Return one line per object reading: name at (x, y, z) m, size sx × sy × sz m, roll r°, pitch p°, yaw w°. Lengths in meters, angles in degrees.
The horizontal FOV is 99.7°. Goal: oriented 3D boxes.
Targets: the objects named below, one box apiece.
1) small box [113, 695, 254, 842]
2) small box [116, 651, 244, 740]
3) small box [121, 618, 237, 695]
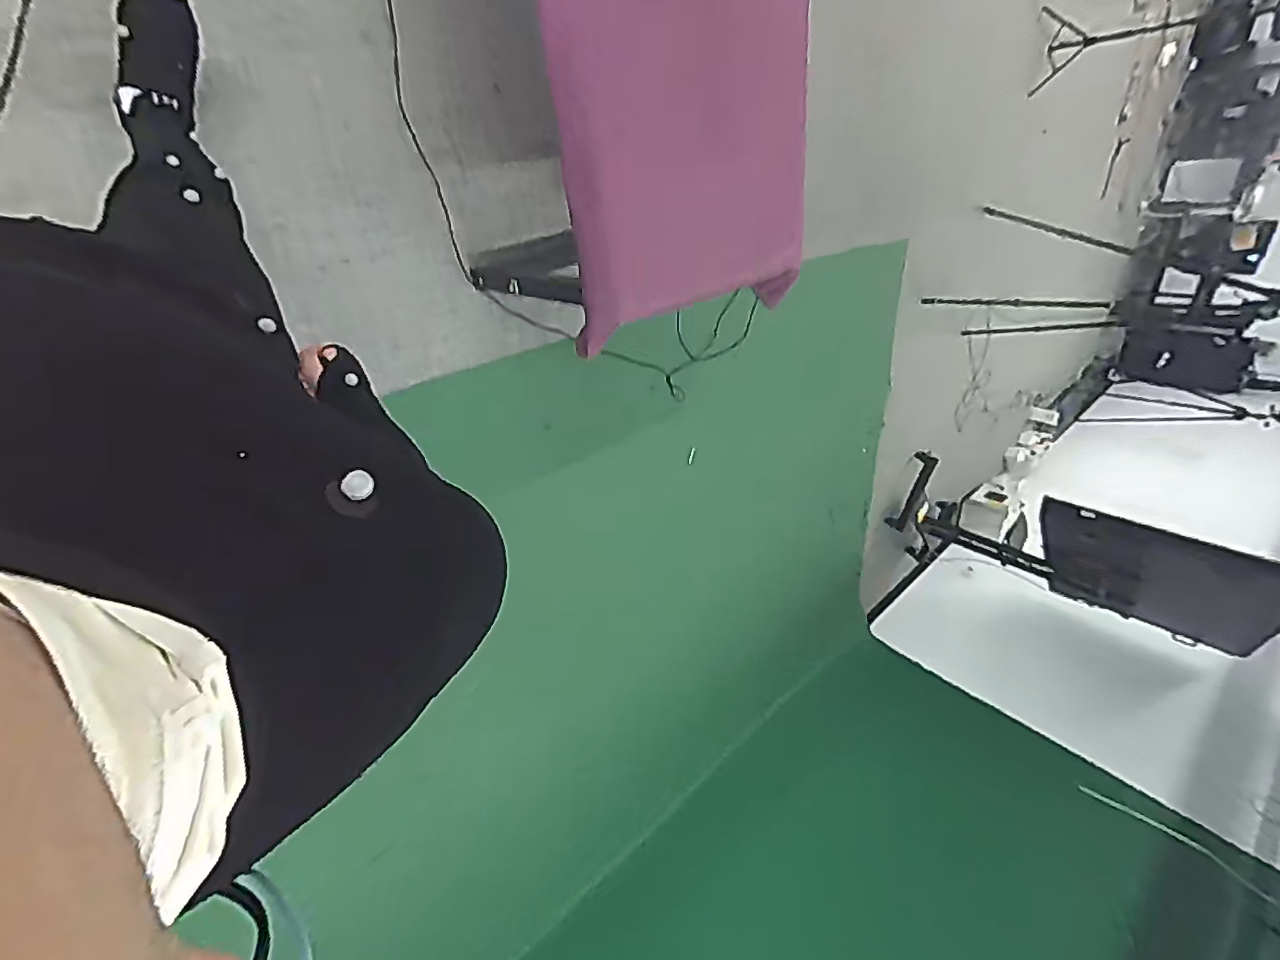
small box at (-0.953, 0.592, 1.135) m, size 0.179 × 0.176 × 0.168 m, roll -25°, pitch 124°, yaw -31°
small box at (-1.056, 0.536, 1.251) m, size 0.179 × 0.176 × 0.168 m, roll -26°, pitch 125°, yaw -32°
small box at (-1.157, 0.486, 1.367) m, size 0.179 × 0.176 × 0.168 m, roll -24°, pitch 124°, yaw -31°
